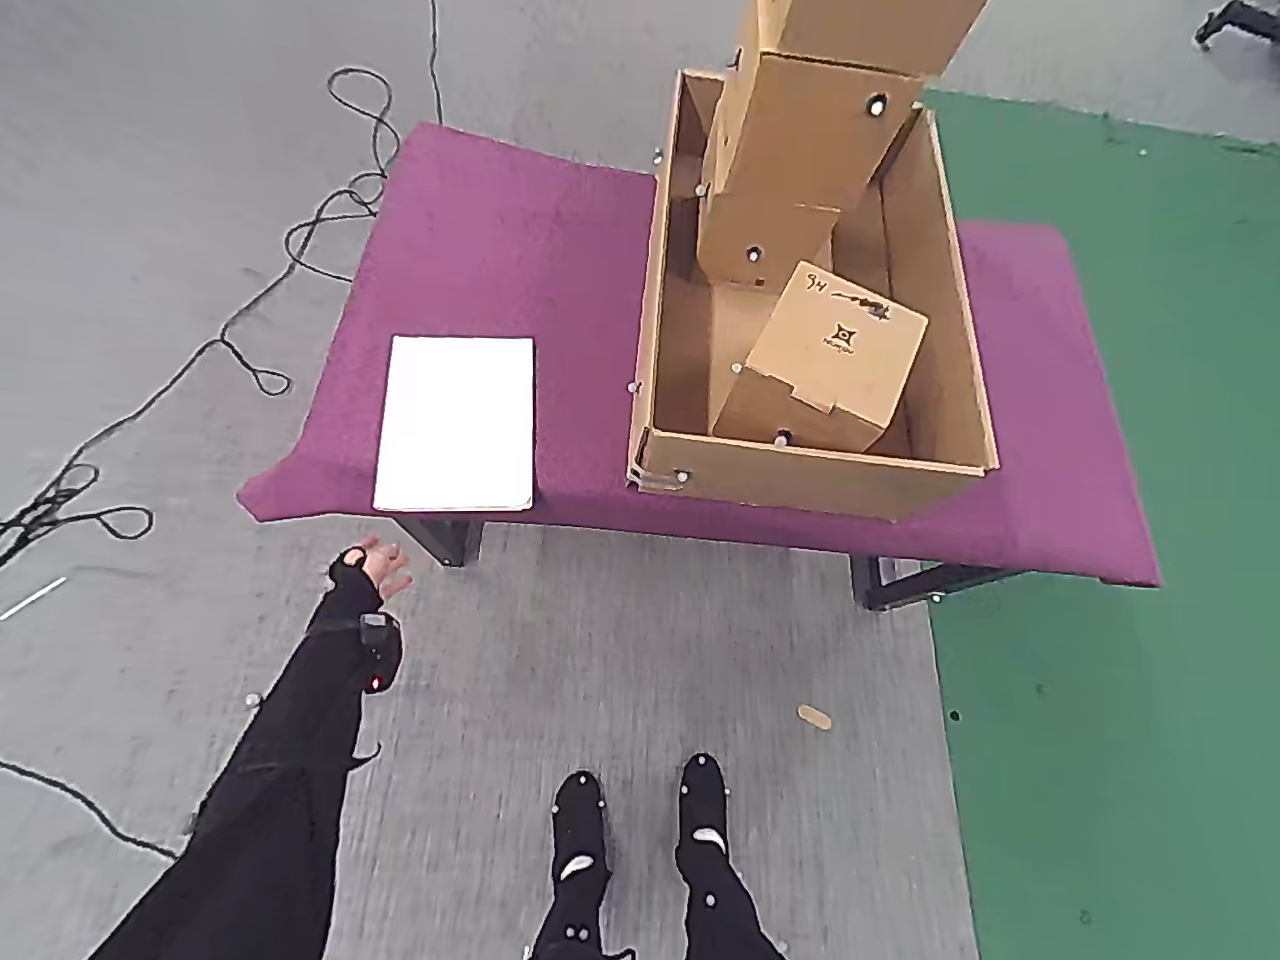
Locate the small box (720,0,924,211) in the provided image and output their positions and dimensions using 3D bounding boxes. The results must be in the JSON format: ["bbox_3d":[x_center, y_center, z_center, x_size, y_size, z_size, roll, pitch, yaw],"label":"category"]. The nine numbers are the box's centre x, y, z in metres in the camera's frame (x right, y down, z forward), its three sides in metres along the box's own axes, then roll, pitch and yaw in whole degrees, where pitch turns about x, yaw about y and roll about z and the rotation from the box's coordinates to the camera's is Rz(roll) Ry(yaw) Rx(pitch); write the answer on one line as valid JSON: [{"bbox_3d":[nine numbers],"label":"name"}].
[{"bbox_3d":[0.194,-0.447,0.635,0.179,0.176,0.168,4,69,-5],"label":"small box"}]

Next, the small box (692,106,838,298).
[{"bbox_3d":[0.172,-0.392,0.786,0.168,0.176,0.179,7,69,-4],"label":"small box"}]
